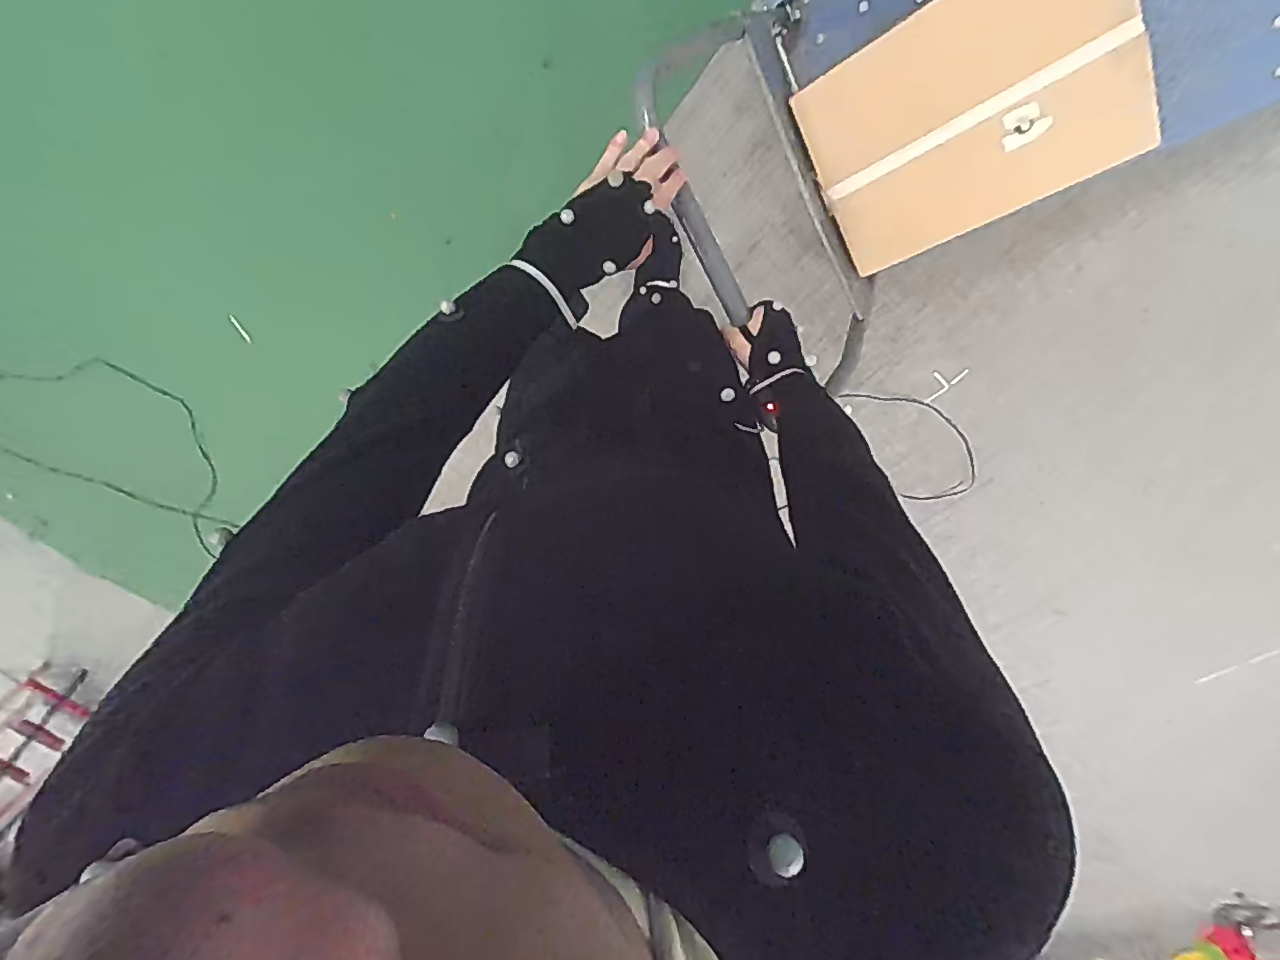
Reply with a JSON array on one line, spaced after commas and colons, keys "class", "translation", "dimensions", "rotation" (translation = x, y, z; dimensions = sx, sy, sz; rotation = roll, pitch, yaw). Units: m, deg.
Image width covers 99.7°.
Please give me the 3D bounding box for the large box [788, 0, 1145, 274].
[{"class": "large box", "translation": [0.512, -0.619, 0.909], "dimensions": [0.408, 0.320, 0.320], "rotation": [-18, 119, 33]}]
